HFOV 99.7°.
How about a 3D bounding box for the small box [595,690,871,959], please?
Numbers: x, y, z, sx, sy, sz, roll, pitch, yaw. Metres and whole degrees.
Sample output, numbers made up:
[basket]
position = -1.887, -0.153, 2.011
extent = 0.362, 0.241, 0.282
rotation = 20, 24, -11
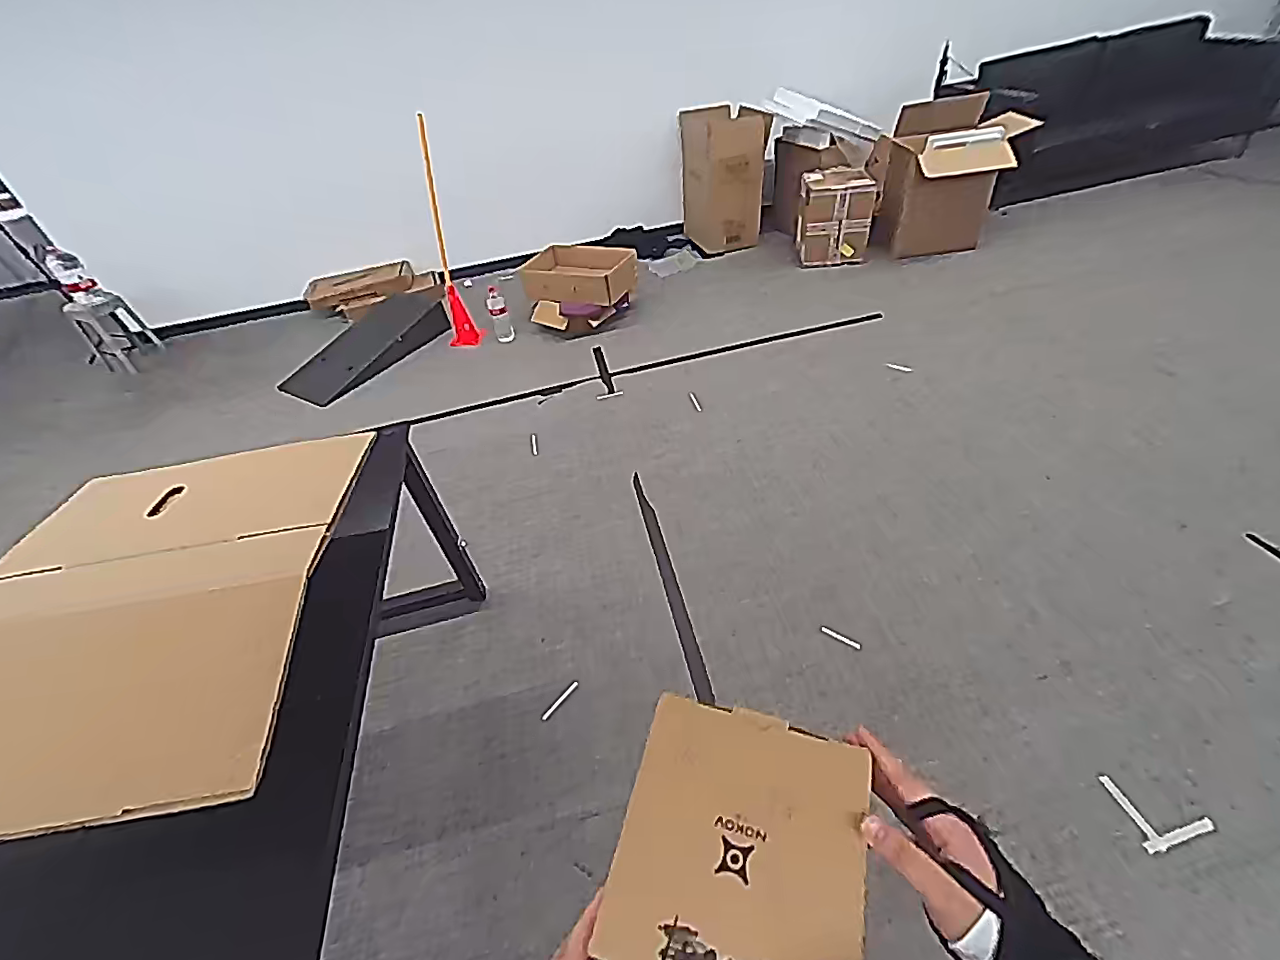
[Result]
[small box]
position = 0.082, 0.304, 0.440
extent = 0.168, 0.176, 0.179
rotation = 8, 53, 19
